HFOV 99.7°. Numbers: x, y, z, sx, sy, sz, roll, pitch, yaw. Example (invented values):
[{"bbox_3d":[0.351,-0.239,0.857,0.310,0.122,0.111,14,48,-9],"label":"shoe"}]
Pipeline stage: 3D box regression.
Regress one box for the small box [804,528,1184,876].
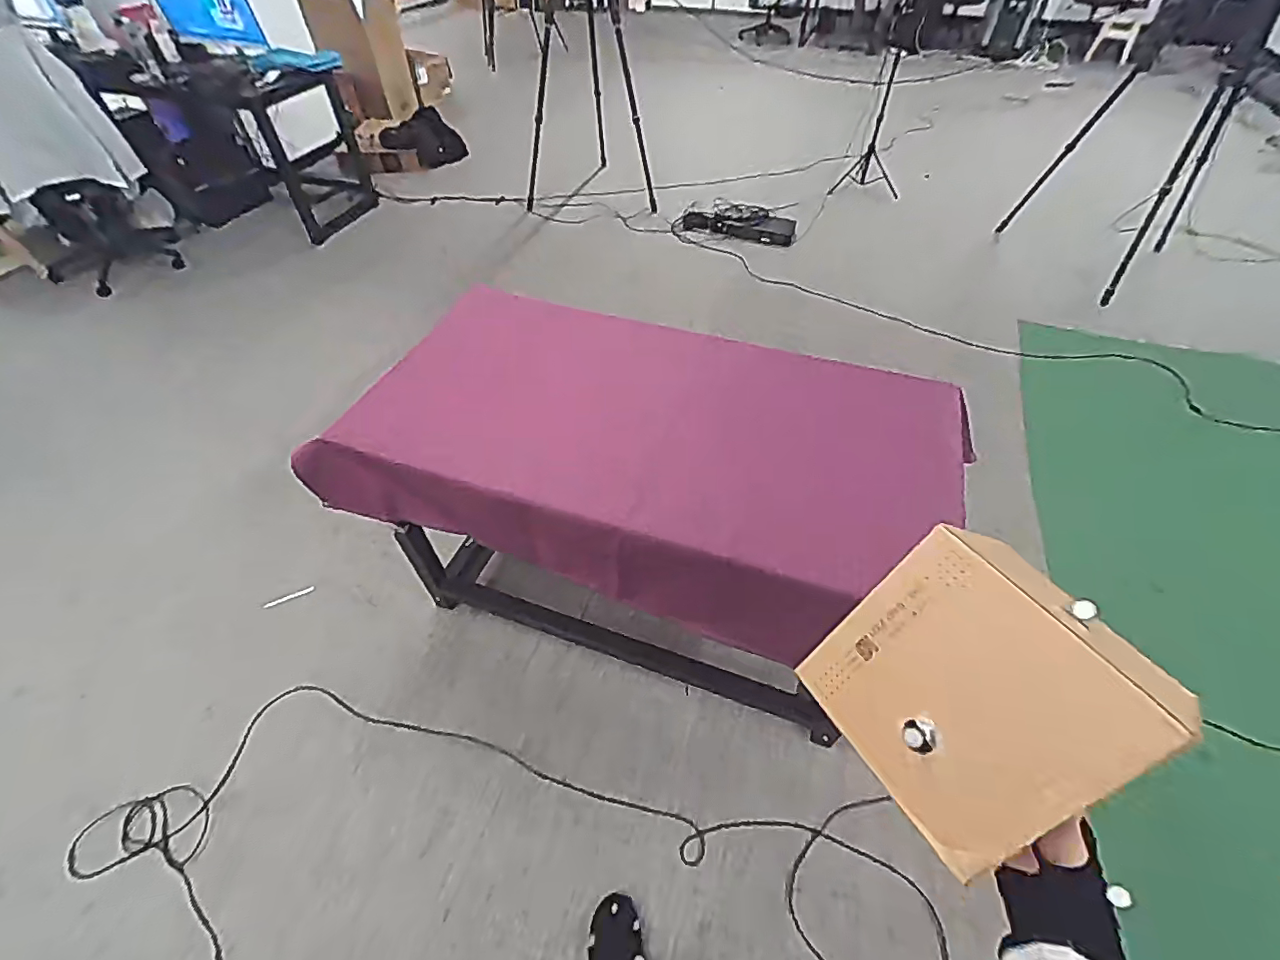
[{"bbox_3d":[0.267,0.157,0.428,0.179,0.168,0.176,14,28,-44],"label":"small box"}]
